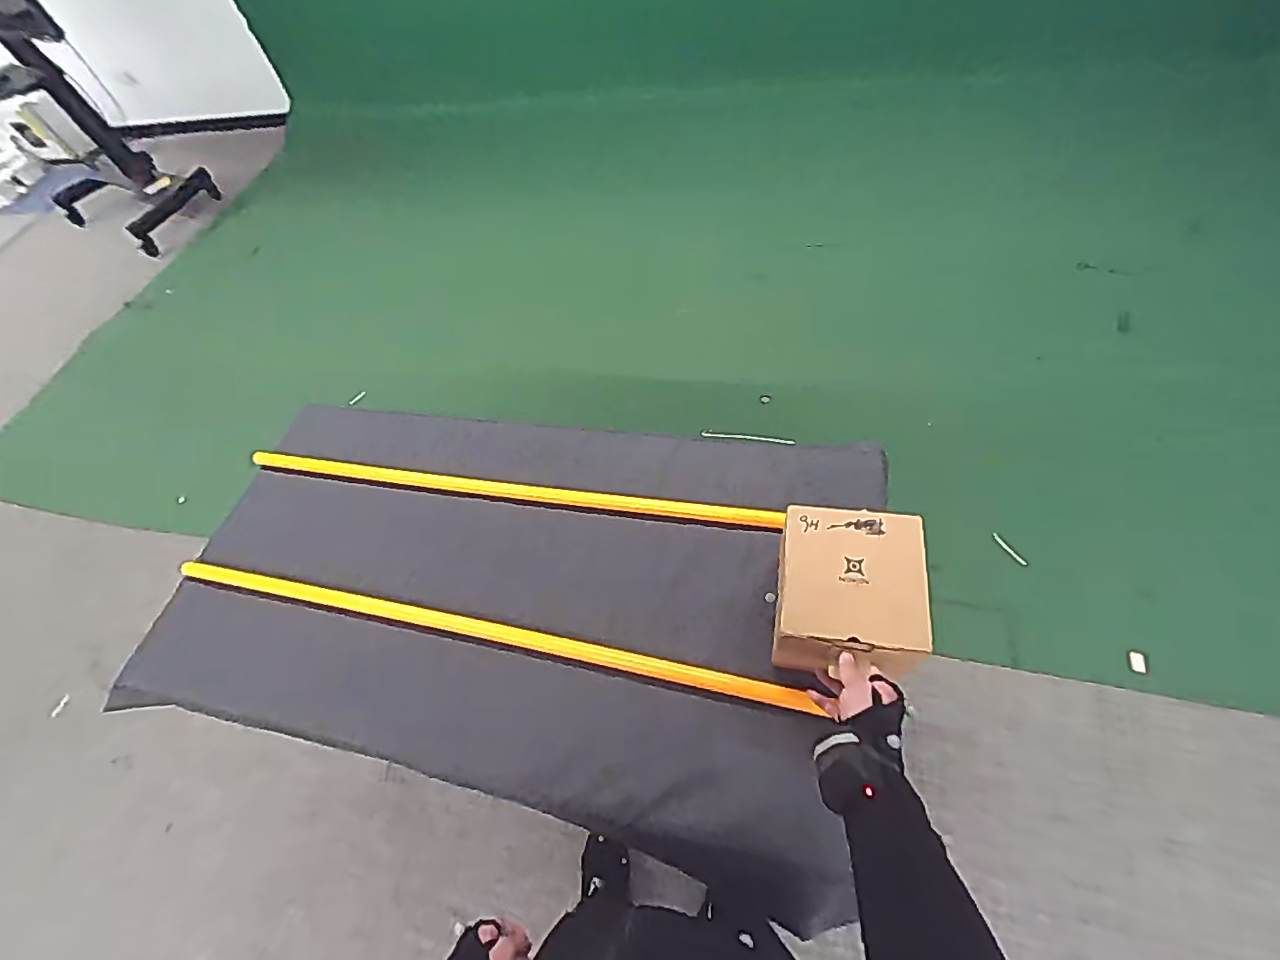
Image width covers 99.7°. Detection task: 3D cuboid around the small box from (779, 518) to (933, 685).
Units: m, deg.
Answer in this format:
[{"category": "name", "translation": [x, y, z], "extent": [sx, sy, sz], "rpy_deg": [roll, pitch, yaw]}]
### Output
[{"category": "small box", "translation": [0.276, 0.167, 0.728], "extent": [0.168, 0.176, 0.179], "rpy_deg": [1, 59, 13]}]
